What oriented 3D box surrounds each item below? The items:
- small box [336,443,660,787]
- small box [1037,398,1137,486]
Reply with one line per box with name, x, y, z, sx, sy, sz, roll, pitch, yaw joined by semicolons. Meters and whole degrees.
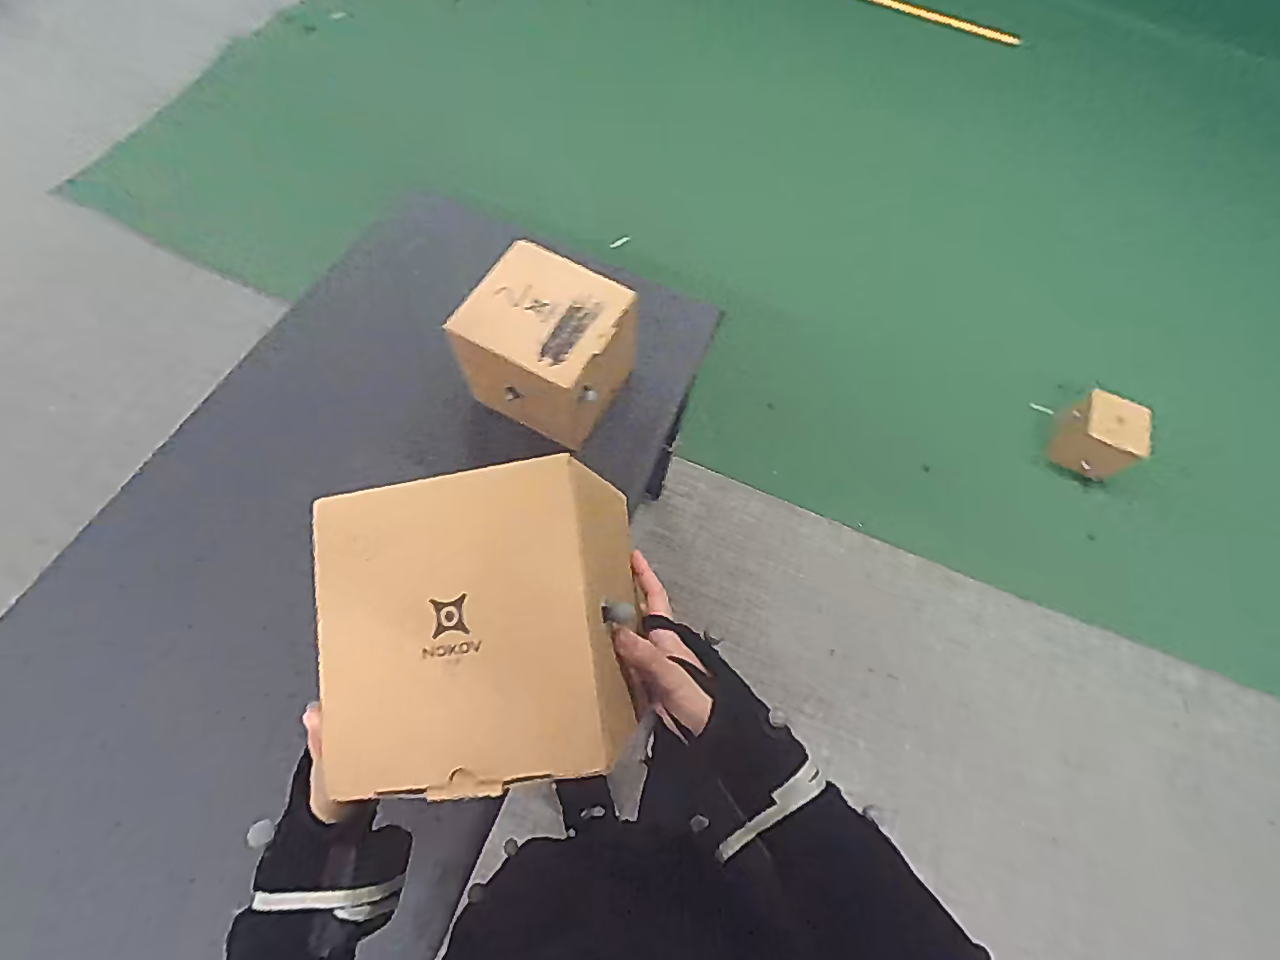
small box;-0.082;0.086;0.380;0.168;0.176;0.179;-8;80;7
small box;1.345;-0.111;1.636;0.168;0.176;0.179;24;67;5
